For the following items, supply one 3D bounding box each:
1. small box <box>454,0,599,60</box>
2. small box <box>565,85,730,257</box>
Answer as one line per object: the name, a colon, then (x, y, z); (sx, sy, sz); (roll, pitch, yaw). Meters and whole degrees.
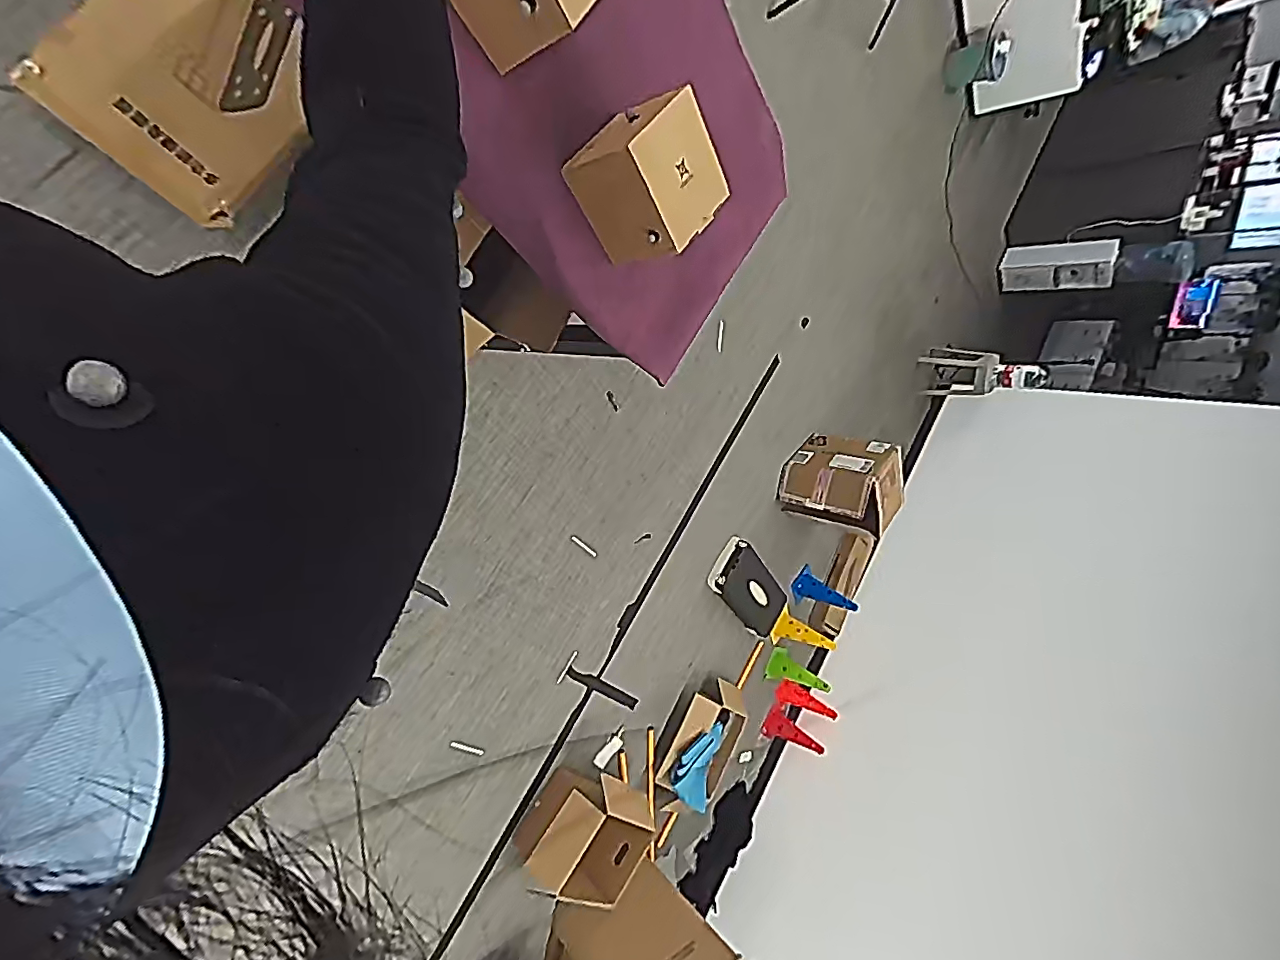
small box: (-0.144, -0.668, 0.669); (0.179, 0.176, 0.168); (44, 68, -43)
small box: (0.011, -0.487, 0.880); (0.168, 0.176, 0.179); (-54, 133, -19)
